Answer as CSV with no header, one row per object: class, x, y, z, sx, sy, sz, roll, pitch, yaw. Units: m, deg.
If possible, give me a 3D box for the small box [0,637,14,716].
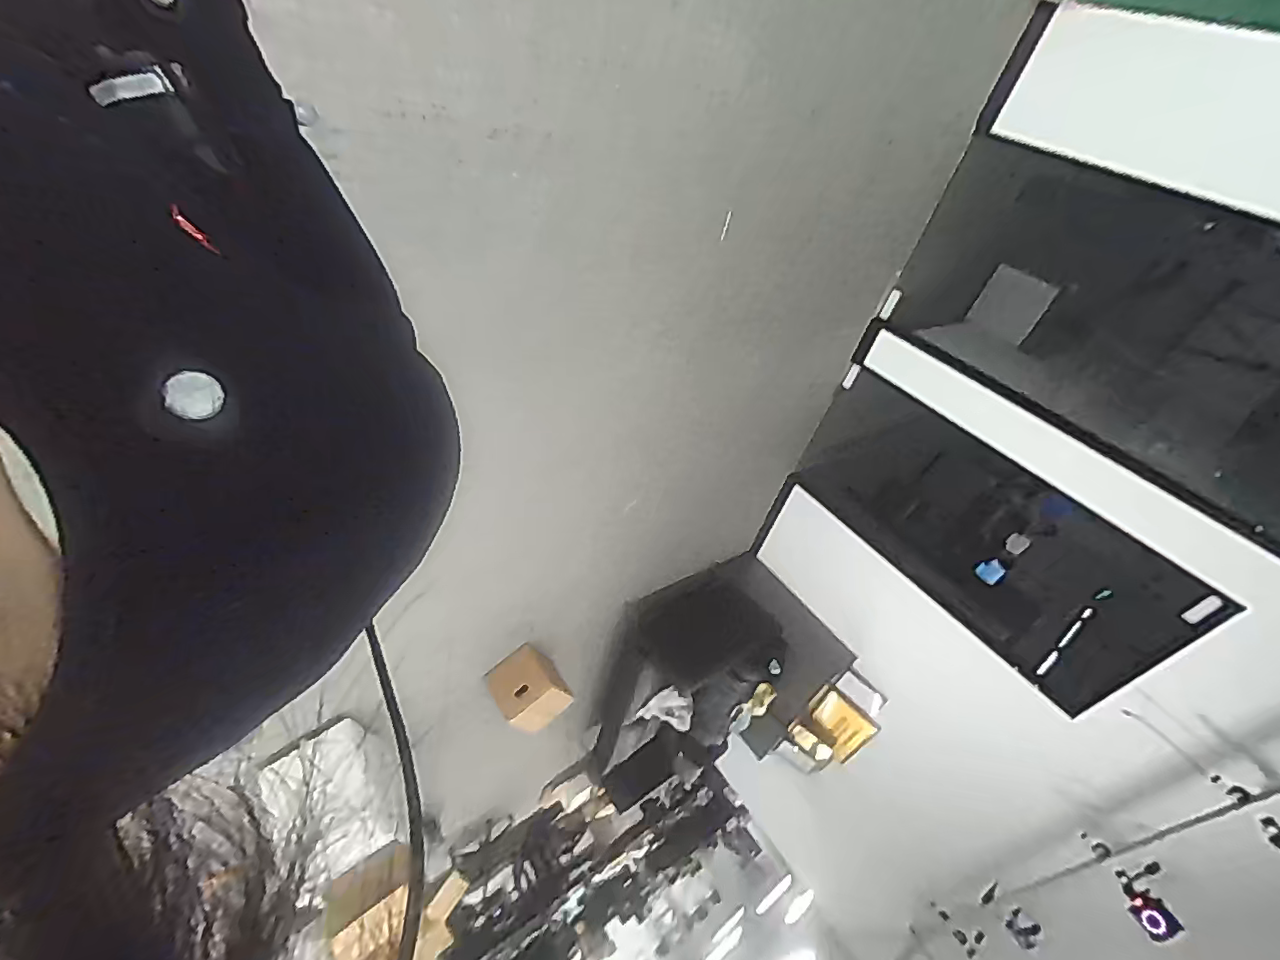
small box,-1.472,0.419,1.127,0.179,0.176,0.168,-21,142,-32
